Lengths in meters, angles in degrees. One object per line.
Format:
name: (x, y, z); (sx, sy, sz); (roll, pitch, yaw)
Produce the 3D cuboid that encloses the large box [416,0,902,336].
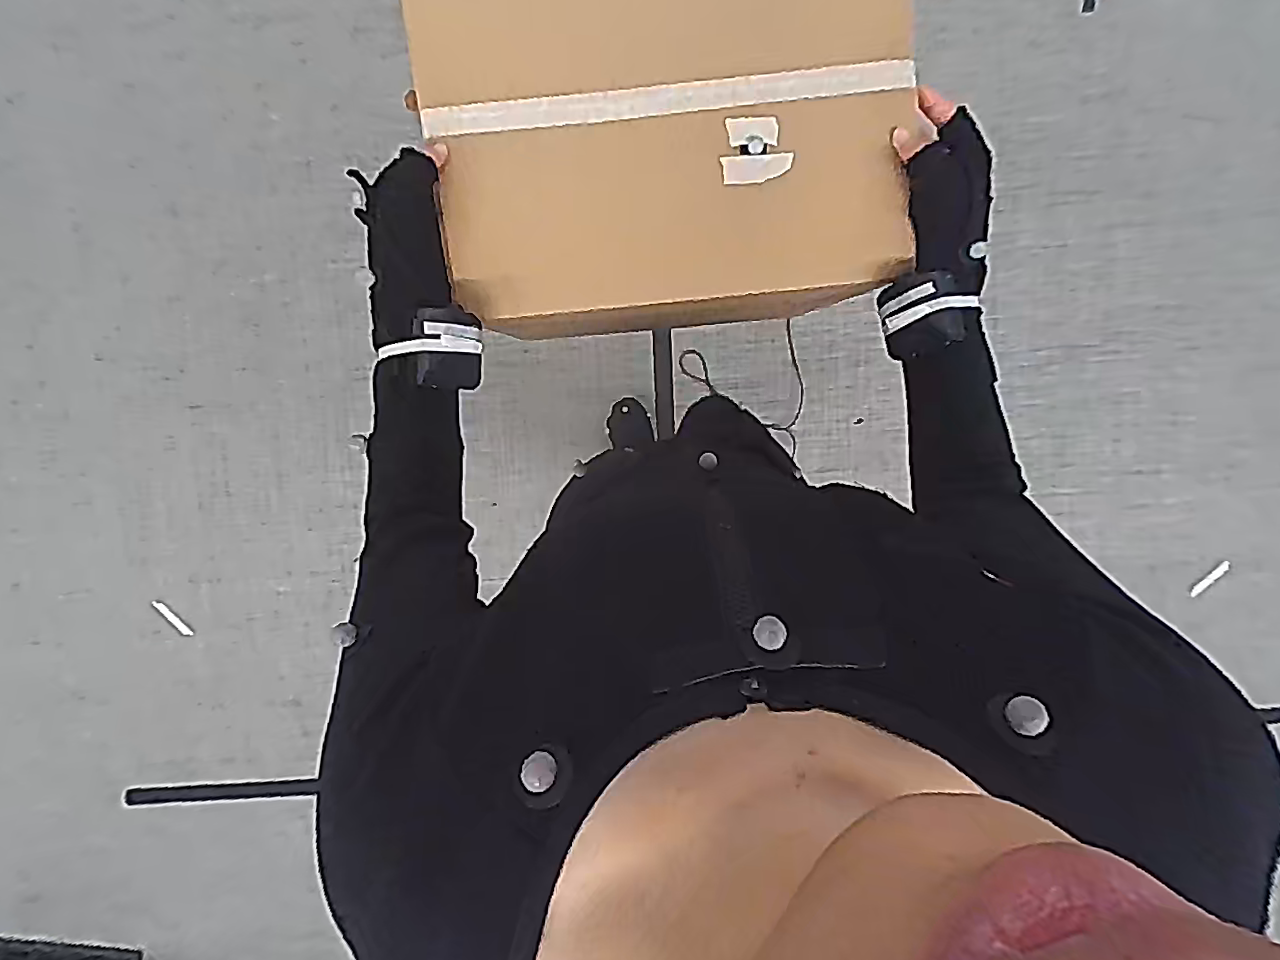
large box: (0.019, -0.349, 0.605); (0.408, 0.320, 0.320); (-6, 102, -1)
